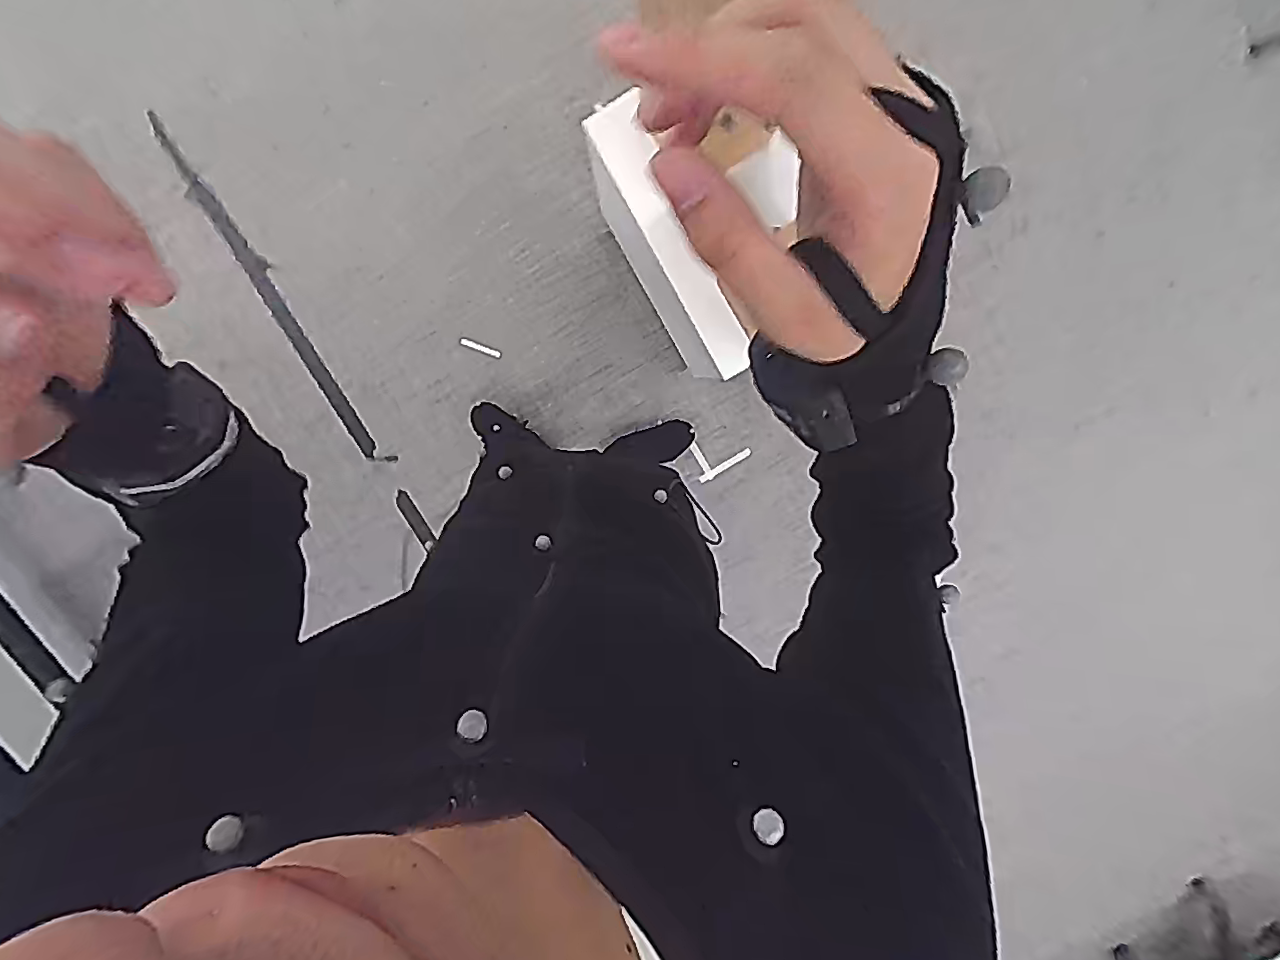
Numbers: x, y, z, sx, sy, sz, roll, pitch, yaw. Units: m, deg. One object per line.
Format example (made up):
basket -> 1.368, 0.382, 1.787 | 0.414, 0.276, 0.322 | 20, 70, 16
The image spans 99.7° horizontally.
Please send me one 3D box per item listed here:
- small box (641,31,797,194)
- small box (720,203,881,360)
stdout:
small box -> 0.114, -0.586, 0.846 | 0.179, 0.176, 0.168 | -29, 101, 4
small box -> 0.254, -0.316, 0.899 | 0.179, 0.176, 0.168 | -31, 99, 5
